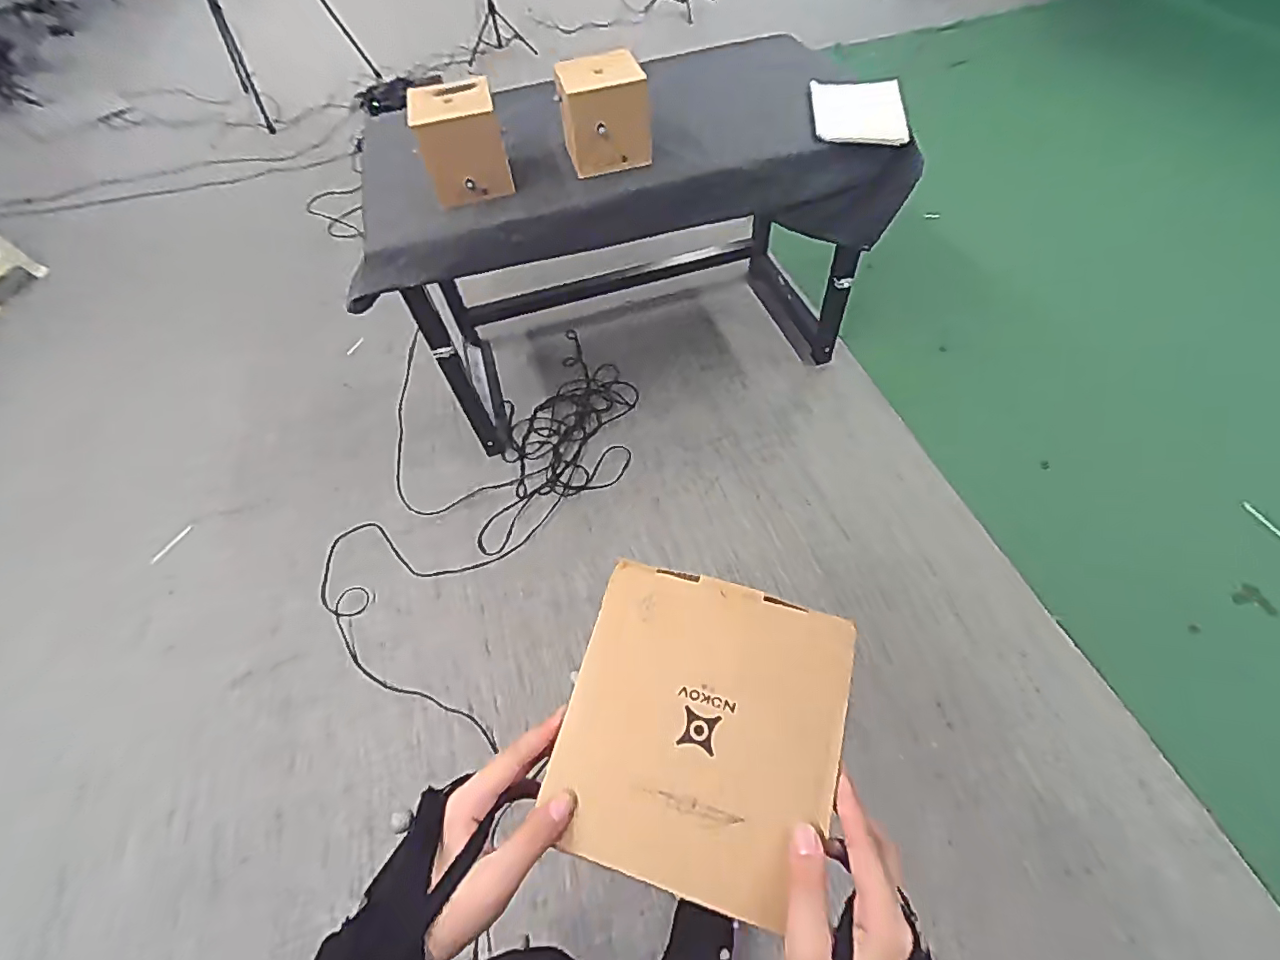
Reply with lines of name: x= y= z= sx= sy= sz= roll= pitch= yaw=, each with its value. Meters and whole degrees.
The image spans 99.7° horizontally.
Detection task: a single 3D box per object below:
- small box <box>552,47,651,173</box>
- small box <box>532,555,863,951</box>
small box: x=-0.078 y=-0.786 z=1.160 sx=0.168 sy=0.176 sz=0.179 roll=-15 pitch=55 yaw=-4
small box: x=0.045 y=0.179 z=0.394 sx=0.168 sy=0.176 sz=0.179 roll=13 pitch=67 yaw=12
